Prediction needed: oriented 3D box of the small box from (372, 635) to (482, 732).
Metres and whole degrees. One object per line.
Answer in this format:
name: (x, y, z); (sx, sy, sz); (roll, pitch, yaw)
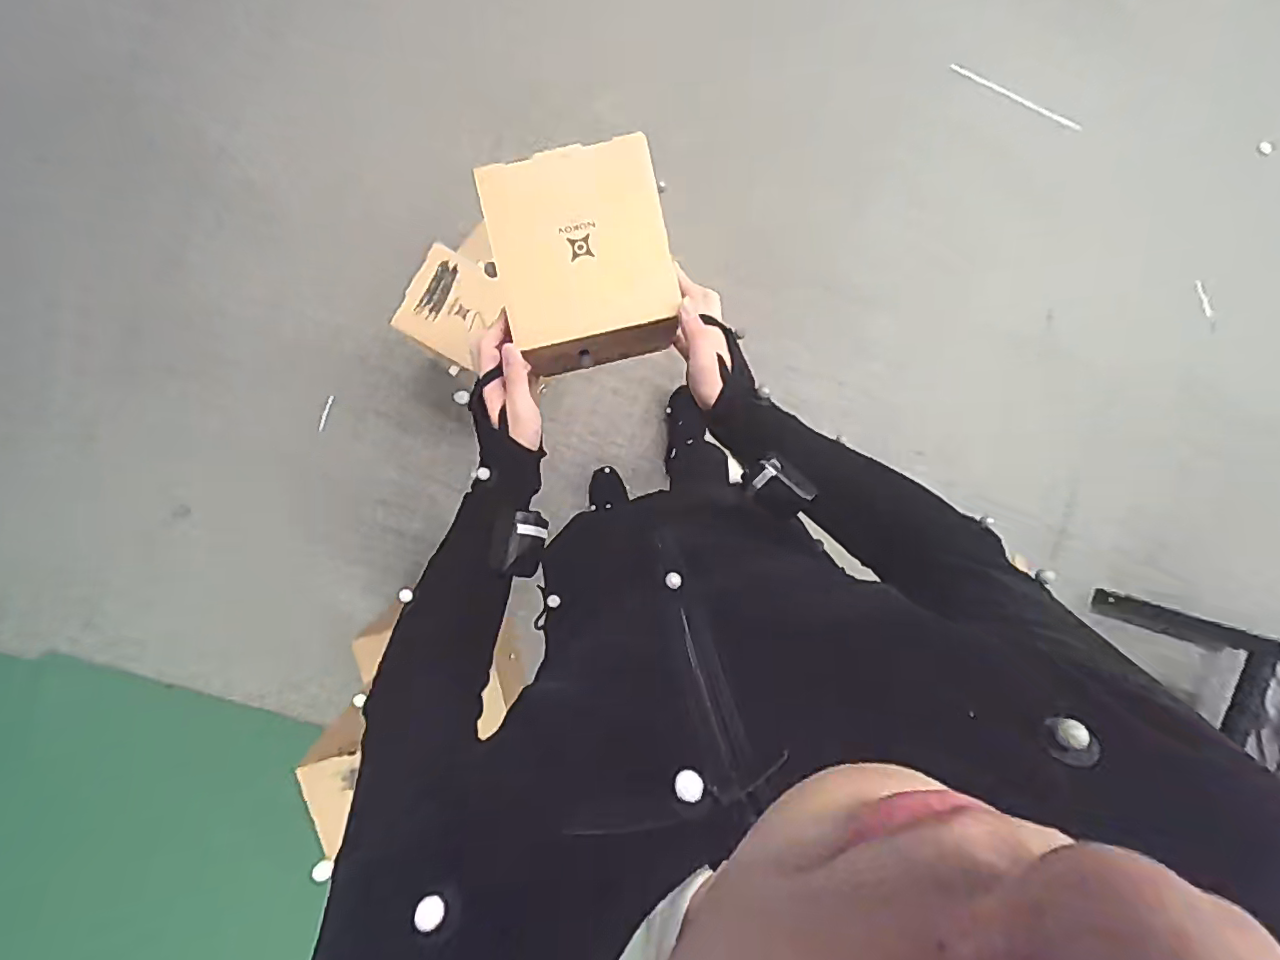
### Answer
small box: (-0.464, 0.462, 1.203); (0.168, 0.176, 0.179); (-14, 95, -5)

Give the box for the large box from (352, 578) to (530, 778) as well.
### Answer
large box: (-0.504, 0.523, 1.451); (0.320, 0.320, 0.408); (-14, 96, -4)

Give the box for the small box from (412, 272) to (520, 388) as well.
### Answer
small box: (-0.352, -0.311, 1.166); (0.179, 0.176, 0.168); (30, 89, -9)

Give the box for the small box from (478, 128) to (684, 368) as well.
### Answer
small box: (-0.053, -0.226, 0.580); (0.168, 0.176, 0.179); (-13, 91, 0)

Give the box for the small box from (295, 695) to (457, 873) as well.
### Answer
small box: (-0.416, 0.476, 0.881); (0.168, 0.176, 0.179); (-14, 97, -5)
